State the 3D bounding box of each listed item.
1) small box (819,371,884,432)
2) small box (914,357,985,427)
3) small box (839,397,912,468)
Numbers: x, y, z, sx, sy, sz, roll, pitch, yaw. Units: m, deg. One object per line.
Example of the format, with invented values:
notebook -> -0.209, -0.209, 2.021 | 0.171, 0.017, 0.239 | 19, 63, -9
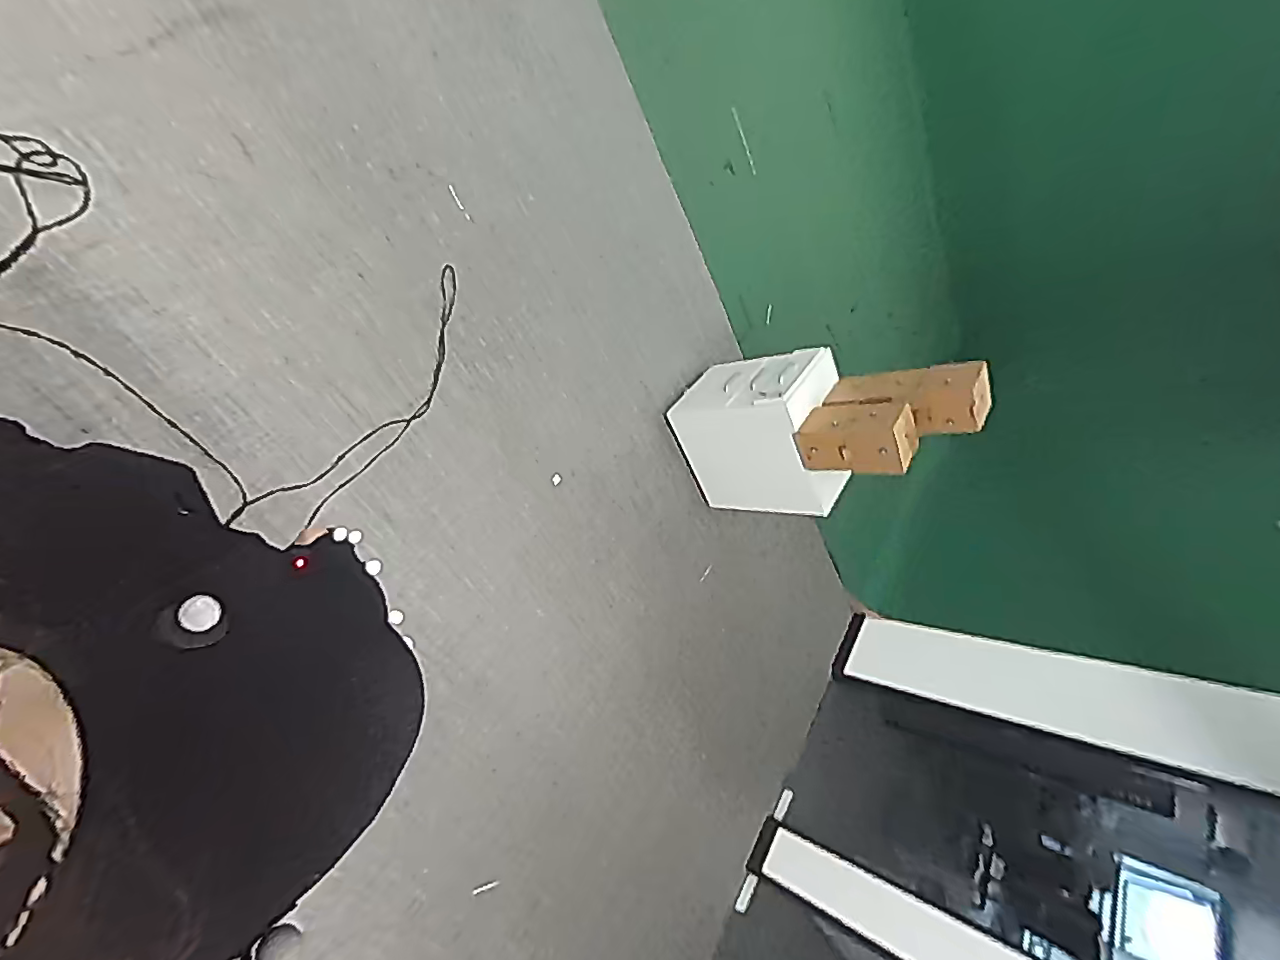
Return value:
small box -> 0.798, -0.293, 2.035 | 0.179, 0.176, 0.168 | -47, 123, -31
small box -> 1.027, -0.288, 1.800 | 0.179, 0.176, 0.168 | -47, 125, -33
small box -> 0.776, -0.154, 1.786 | 0.168, 0.176, 0.179 | -46, 124, -33
